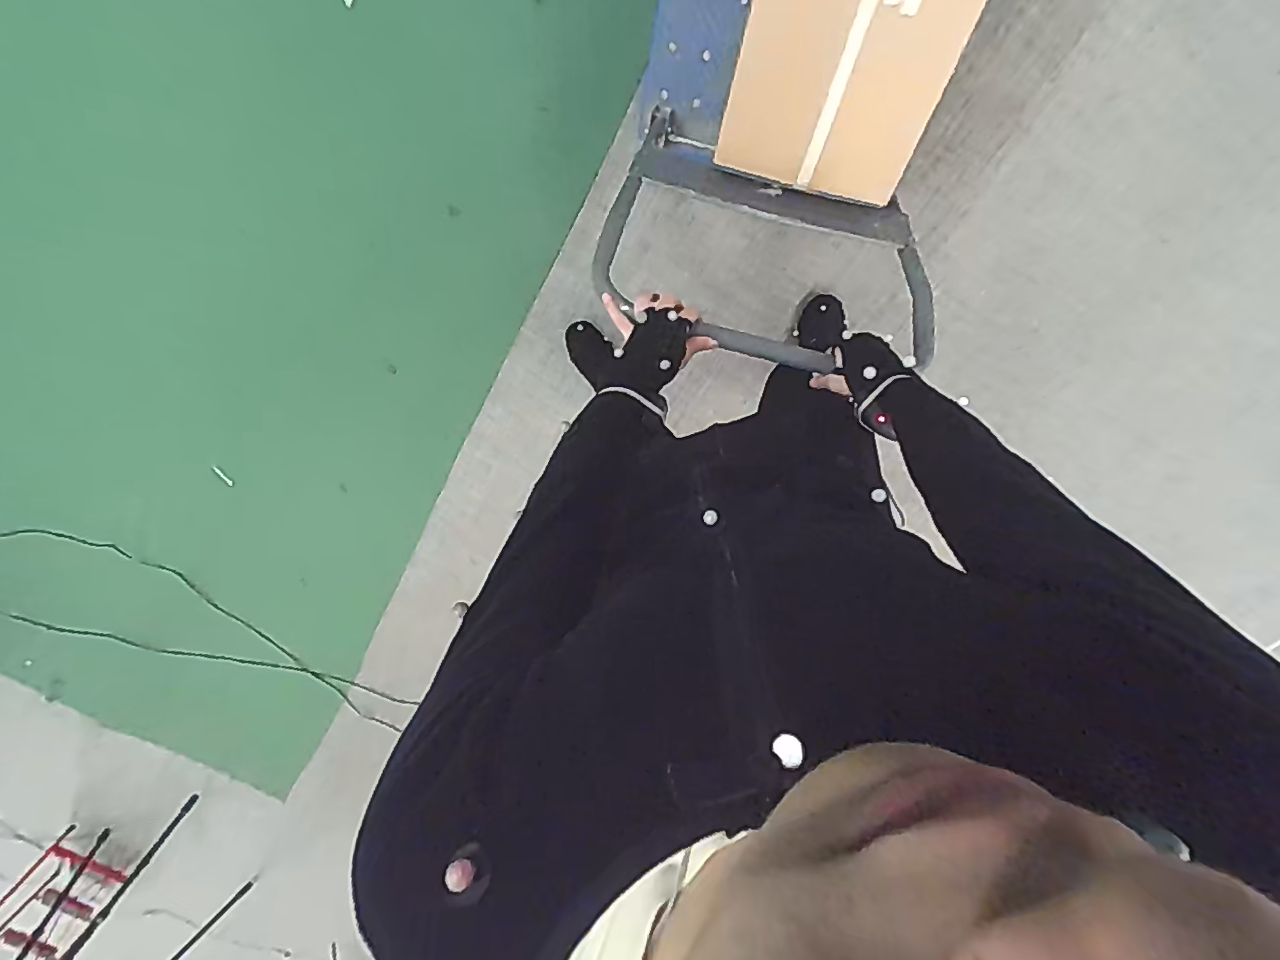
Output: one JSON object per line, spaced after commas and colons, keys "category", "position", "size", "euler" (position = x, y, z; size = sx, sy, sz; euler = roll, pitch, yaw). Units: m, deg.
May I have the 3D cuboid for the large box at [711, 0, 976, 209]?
{"category": "large box", "position": [0.331, -0.748, 0.921], "size": [0.320, 0.320, 0.408], "euler": [14, 134, -1]}
